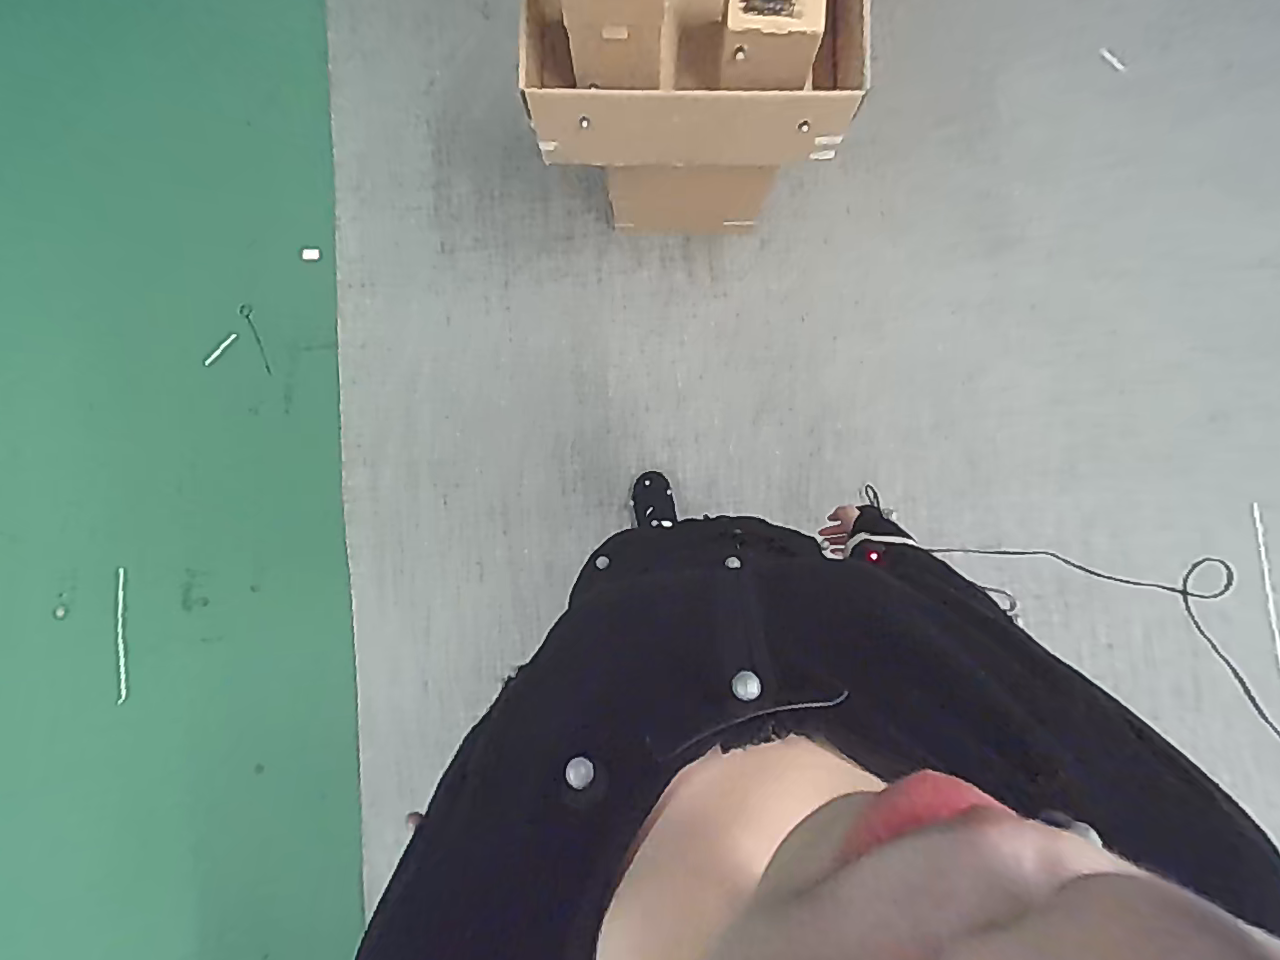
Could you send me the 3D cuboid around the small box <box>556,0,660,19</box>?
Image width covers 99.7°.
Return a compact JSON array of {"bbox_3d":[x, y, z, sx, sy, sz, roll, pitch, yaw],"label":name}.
[{"bbox_3d":[-0.053,-0.863,0.838,0.179,0.176,0.168,0,87,-1],"label":"small box"}]
